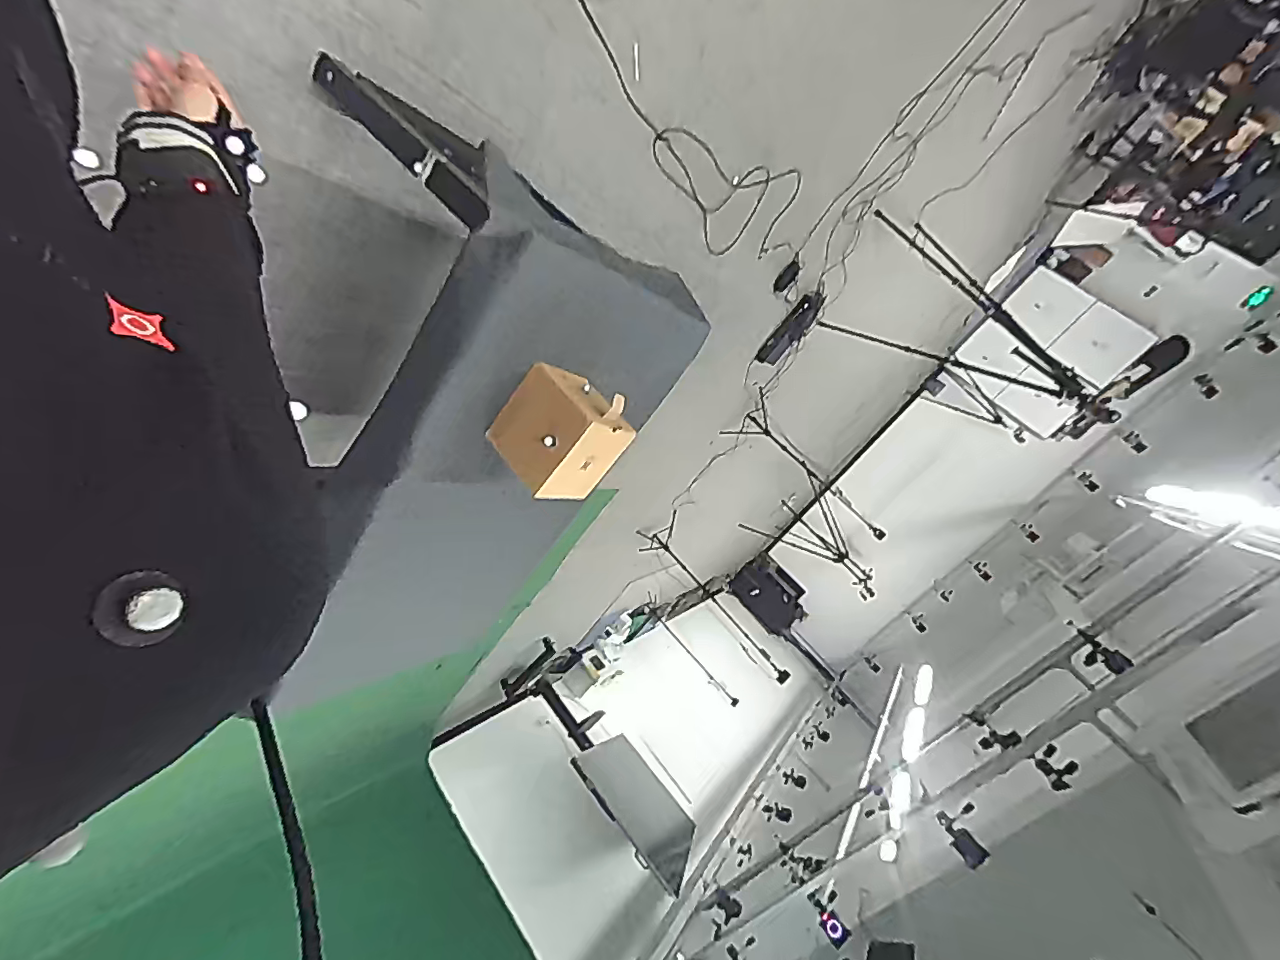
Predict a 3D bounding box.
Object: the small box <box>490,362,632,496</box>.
[{"bbox_3d":[-0.155,-0.090,1.020,0.179,0.176,0.168,-50,159,16],"label":"small box"}]
